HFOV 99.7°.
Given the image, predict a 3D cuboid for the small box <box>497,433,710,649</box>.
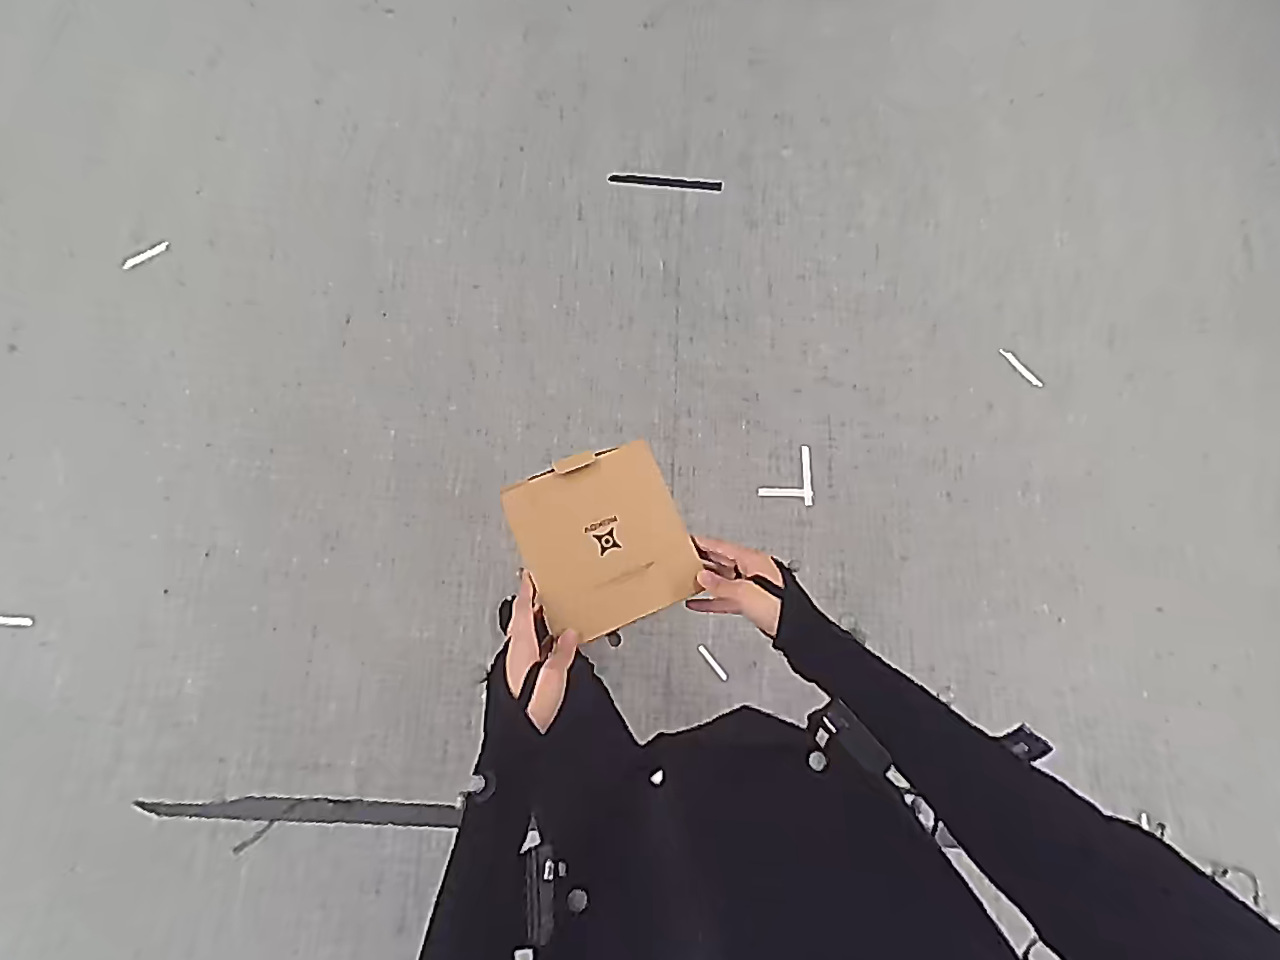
[{"bbox_3d":[-0.049,0.076,0.605,0.168,0.176,0.179,-21,76,-15],"label":"small box"}]
